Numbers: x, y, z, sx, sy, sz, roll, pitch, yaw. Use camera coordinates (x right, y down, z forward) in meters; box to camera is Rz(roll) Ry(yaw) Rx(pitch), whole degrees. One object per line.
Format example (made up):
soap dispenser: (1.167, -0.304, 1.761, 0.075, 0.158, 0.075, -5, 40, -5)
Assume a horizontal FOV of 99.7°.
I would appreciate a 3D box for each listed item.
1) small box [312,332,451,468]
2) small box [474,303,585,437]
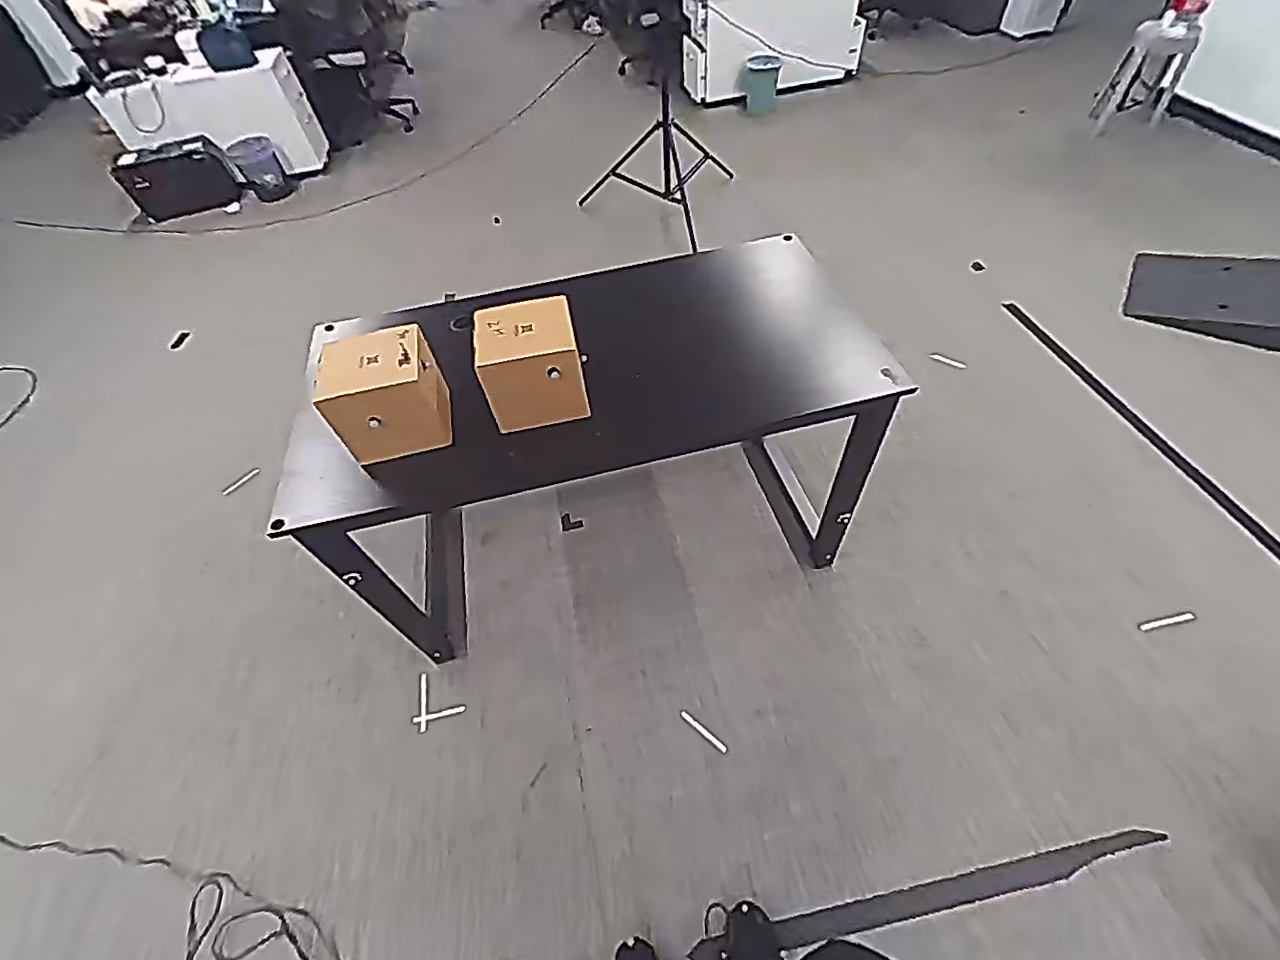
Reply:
small box: (-0.471, -0.145, 1.011, 0.179, 0.176, 0.168, -15, 52, -5)
small box: (-0.205, -0.206, 1.030, 0.179, 0.176, 0.168, -12, 52, -3)
